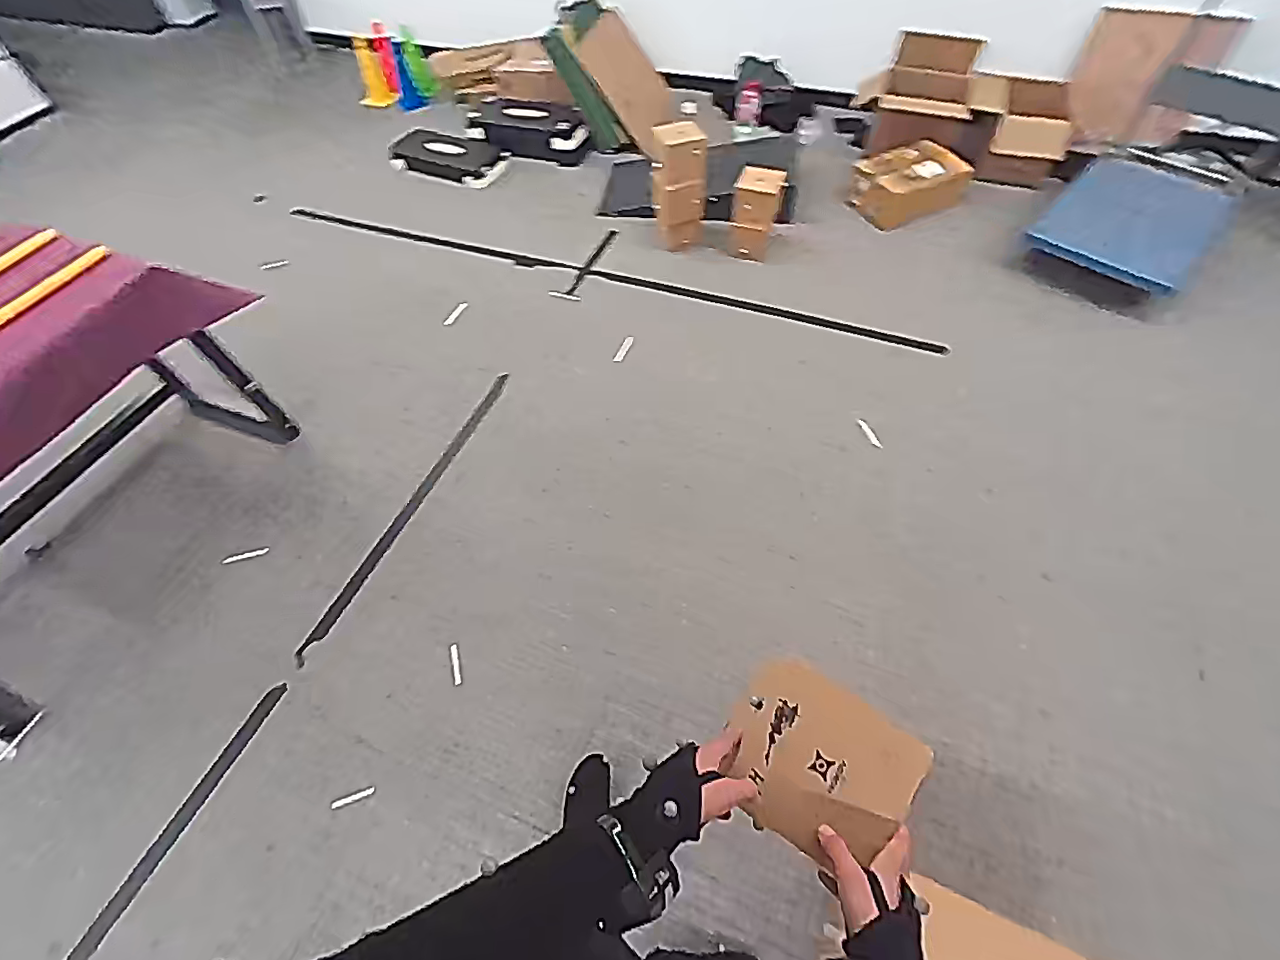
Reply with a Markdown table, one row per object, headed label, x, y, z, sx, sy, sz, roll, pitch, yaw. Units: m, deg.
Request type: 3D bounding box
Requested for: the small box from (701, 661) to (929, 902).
| label | x | y | z | sx | sy | sz | roll | pitch | yaw |
| --- | --- | --- | --- | --- | --- | --- | --- | --- | --- |
| small box | 0.191 | 0.333 | 0.642 | 0.179 | 0.176 | 0.168 | 33 | 74 | 10 |
